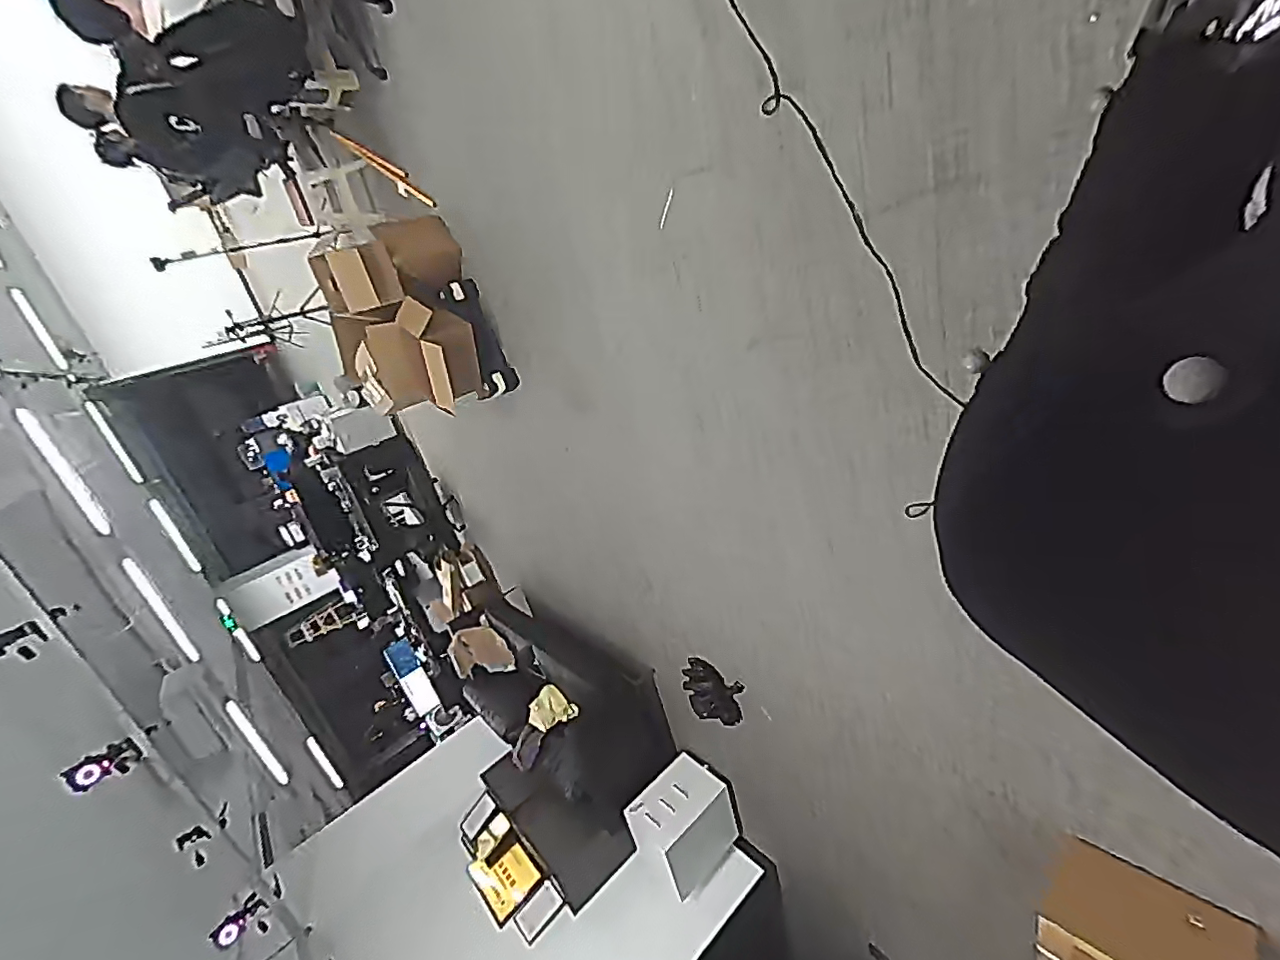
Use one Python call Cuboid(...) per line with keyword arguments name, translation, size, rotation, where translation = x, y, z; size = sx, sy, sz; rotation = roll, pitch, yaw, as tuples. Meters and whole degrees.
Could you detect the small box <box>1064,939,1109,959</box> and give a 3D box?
Cuboid(name="small box", translation=(1.232, 1.399, 1.442), size=(0.179, 0.176, 0.168), rotation=(13, 124, 51))
